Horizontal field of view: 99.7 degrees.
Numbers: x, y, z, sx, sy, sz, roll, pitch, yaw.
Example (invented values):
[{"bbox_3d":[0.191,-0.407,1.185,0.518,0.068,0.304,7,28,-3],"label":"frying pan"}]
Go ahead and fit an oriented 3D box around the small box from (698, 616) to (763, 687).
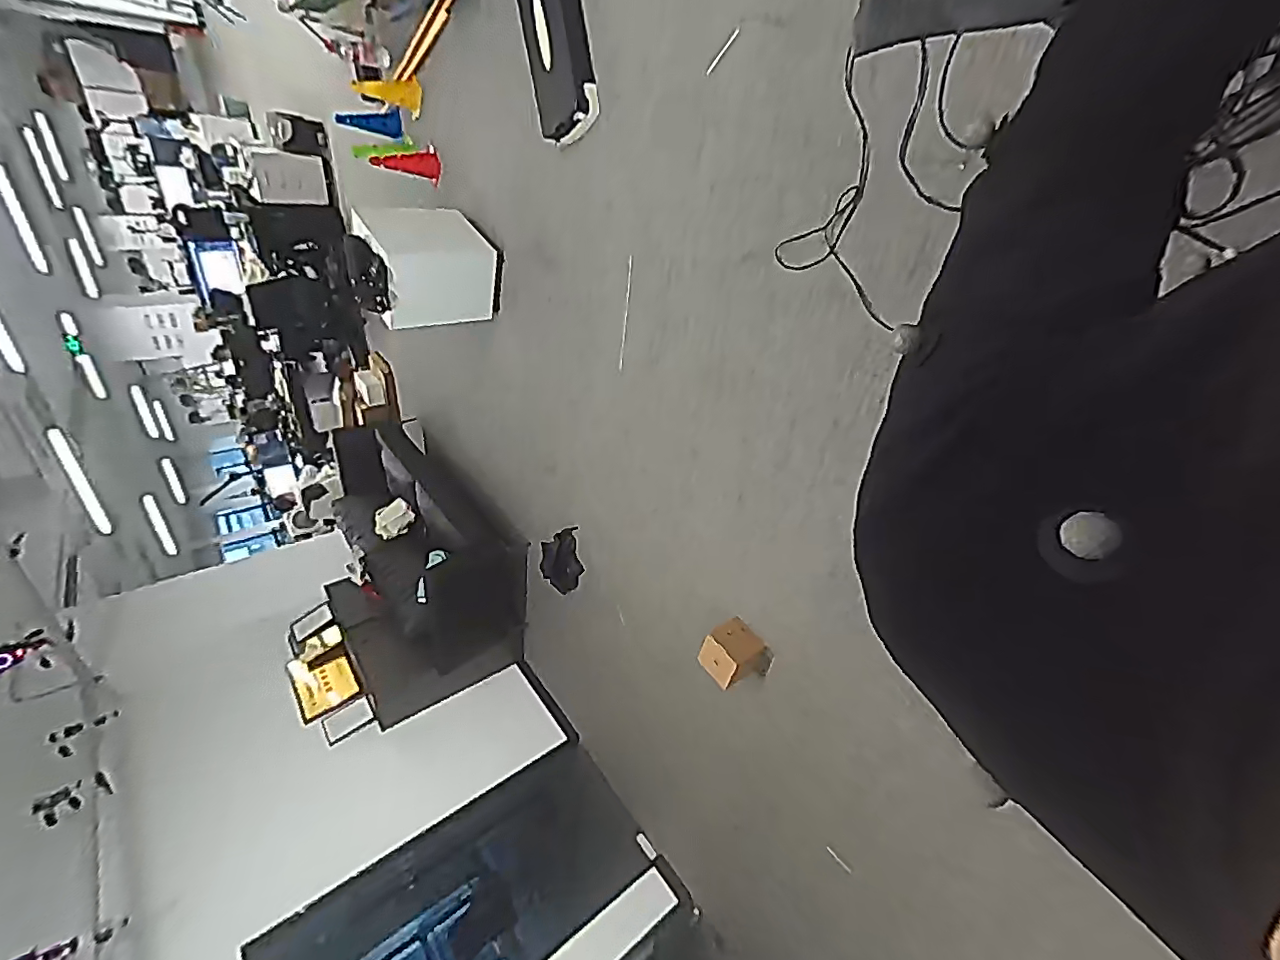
[{"bbox_3d":[0.357,0.665,2.118,0.168,0.176,0.179,44,137,35],"label":"small box"}]
